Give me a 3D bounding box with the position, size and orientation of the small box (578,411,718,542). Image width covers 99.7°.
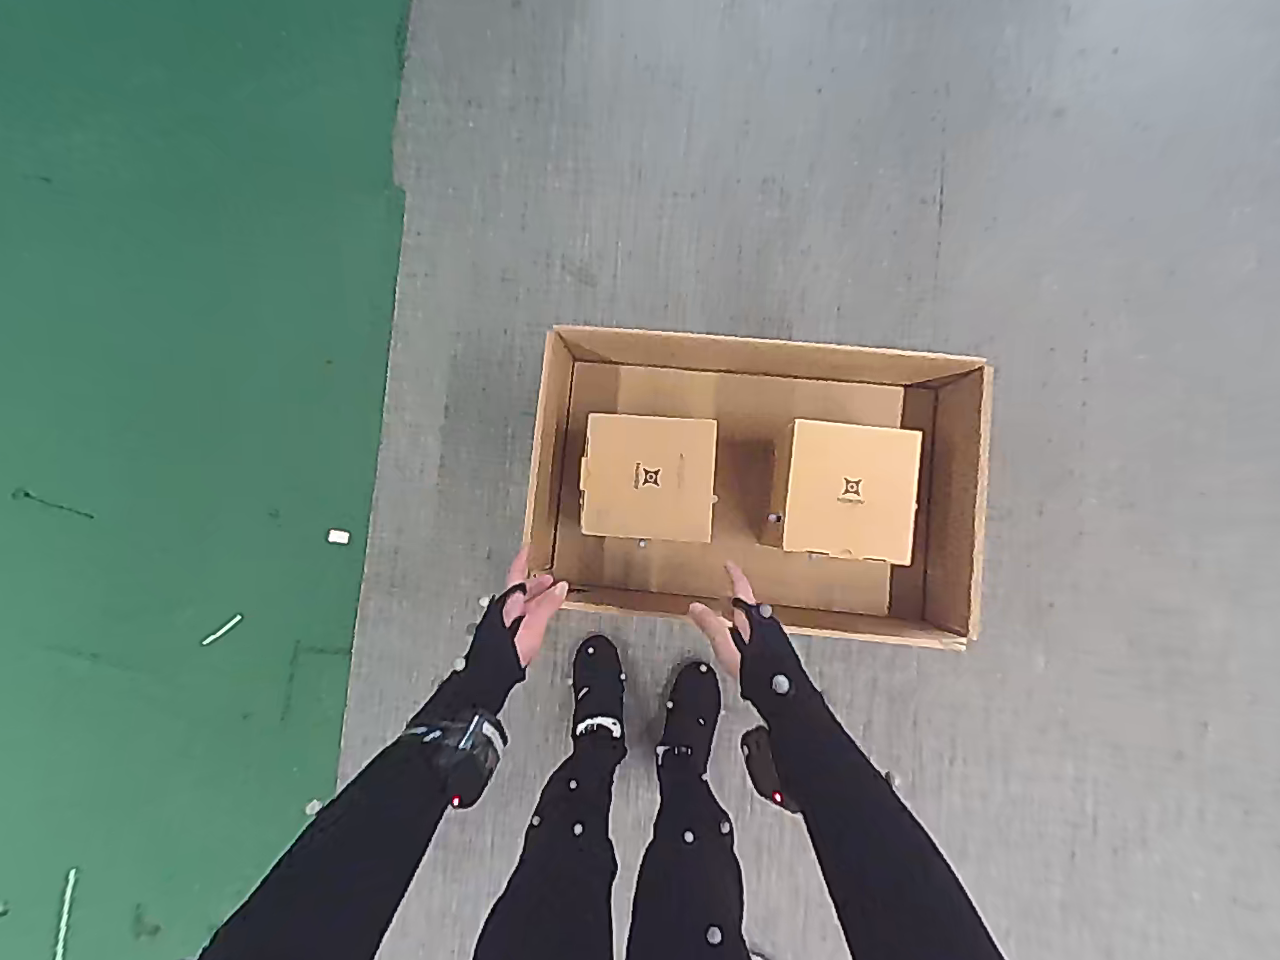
[{"bbox_3d":[0.015,0.000,0.797,0.179,0.176,0.168,5,86,2],"label":"small box"}]

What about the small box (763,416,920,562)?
[{"bbox_3d":[0.277,0.016,0.778,0.168,0.176,0.179,6,87,4],"label":"small box"}]
